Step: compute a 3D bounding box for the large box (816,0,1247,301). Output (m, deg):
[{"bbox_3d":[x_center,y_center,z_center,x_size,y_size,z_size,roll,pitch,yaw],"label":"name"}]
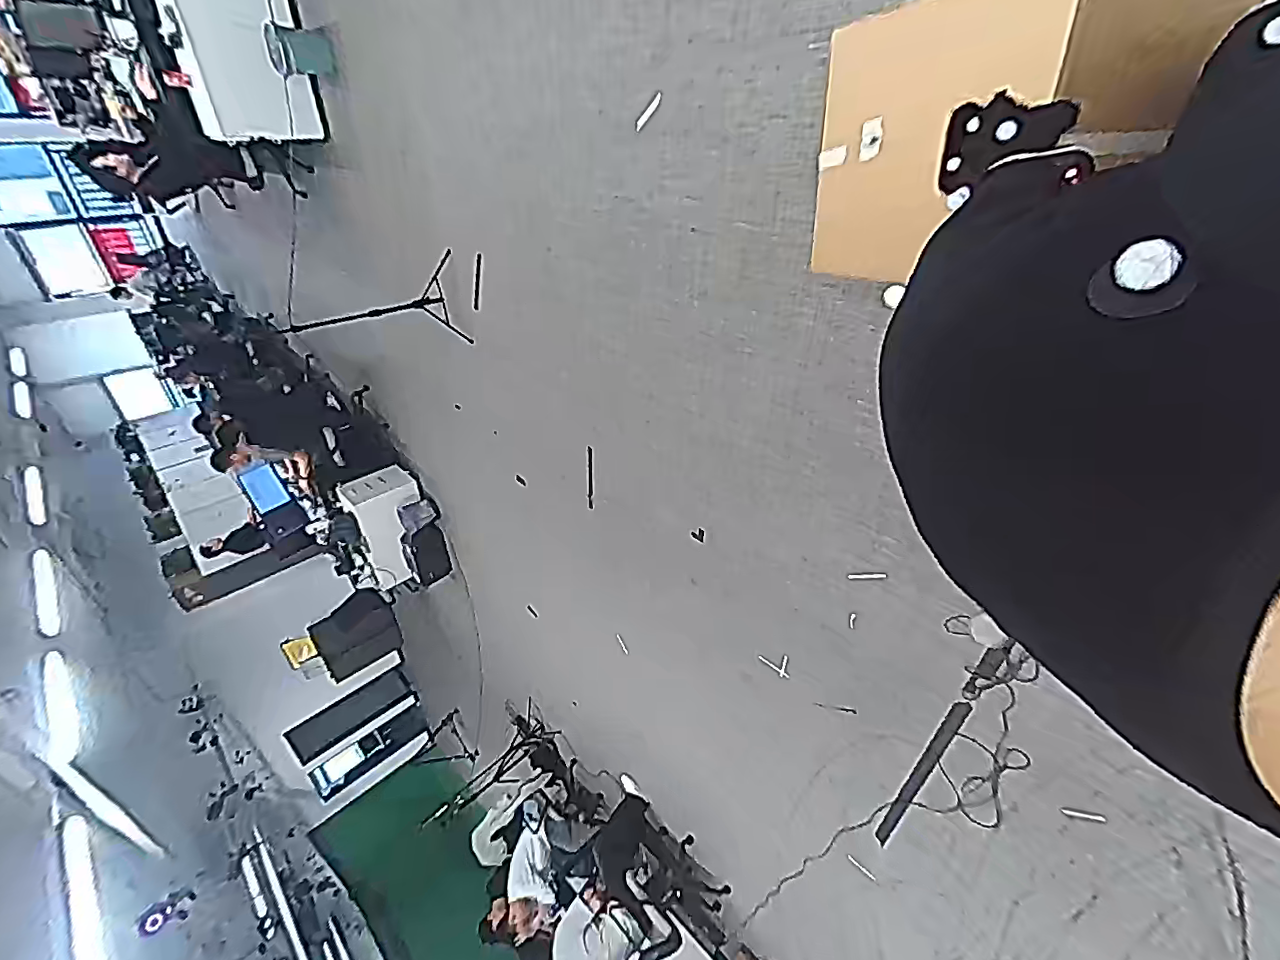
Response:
[{"bbox_3d":[0.516,-0.468,0.776,0.320,0.408,0.320,40,141,49],"label":"large box"}]
